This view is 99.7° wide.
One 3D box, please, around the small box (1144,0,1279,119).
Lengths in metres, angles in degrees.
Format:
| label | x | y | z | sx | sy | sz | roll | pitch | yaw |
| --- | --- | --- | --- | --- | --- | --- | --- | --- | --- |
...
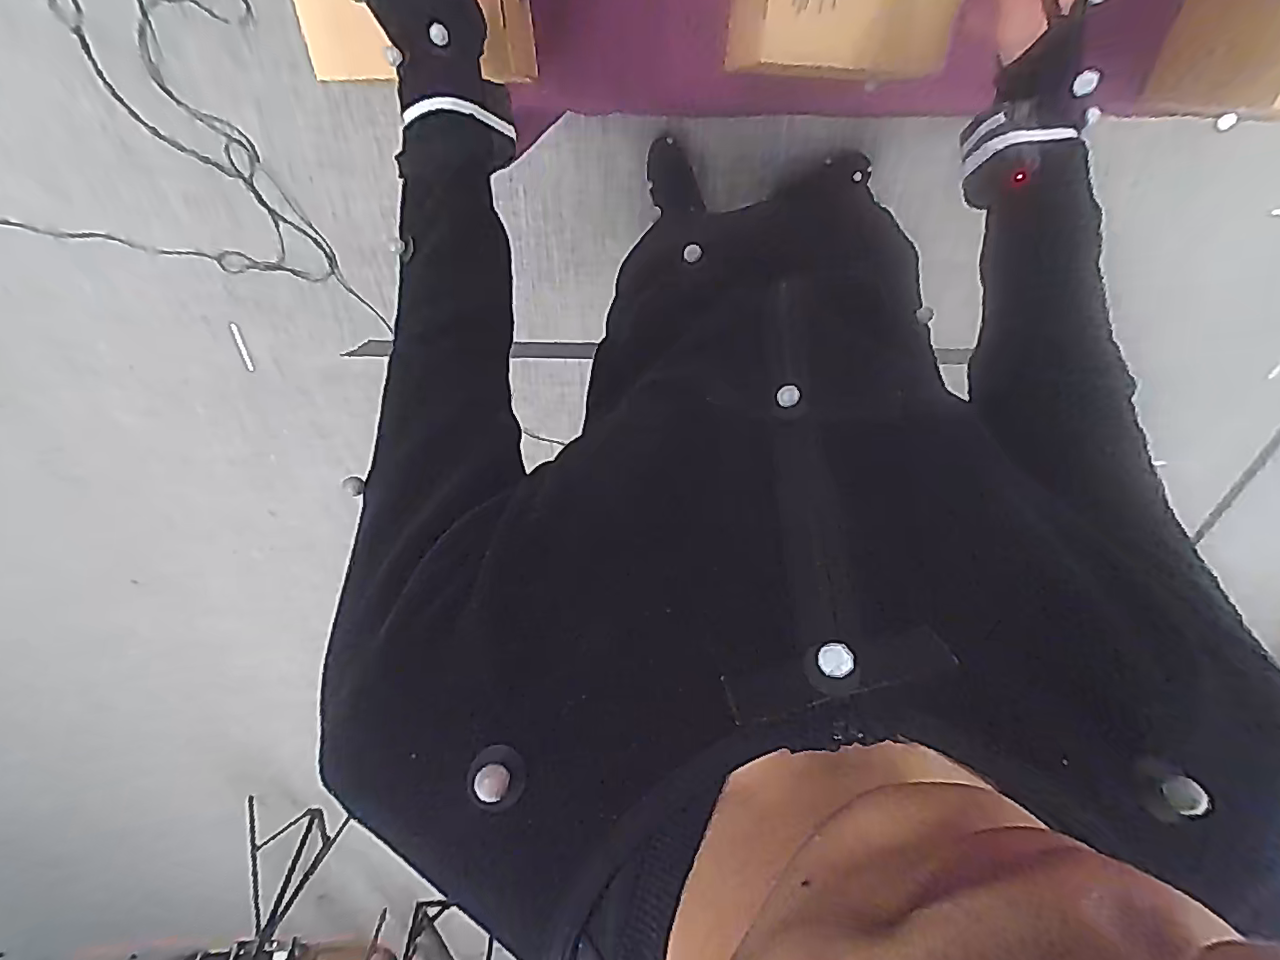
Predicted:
| label | x | y | z | sx | sy | sz | roll | pitch | yaw |
| --- | --- | --- | --- | --- | --- | --- | --- | --- | --- |
| small box | 0.681 | -0.471 | 0.541 | 0.168 | 0.176 | 0.179 | 1 | 125 | -4 |

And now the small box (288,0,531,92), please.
| label | x | y | z | sx | sy | sz | roll | pitch | yaw |
| --- | --- | --- | --- | --- | --- | --- | --- | --- | --- |
| small box | -0.208 | -0.465 | 0.500 | 0.179 | 0.176 | 0.168 | -3 | 125 | -1 |
